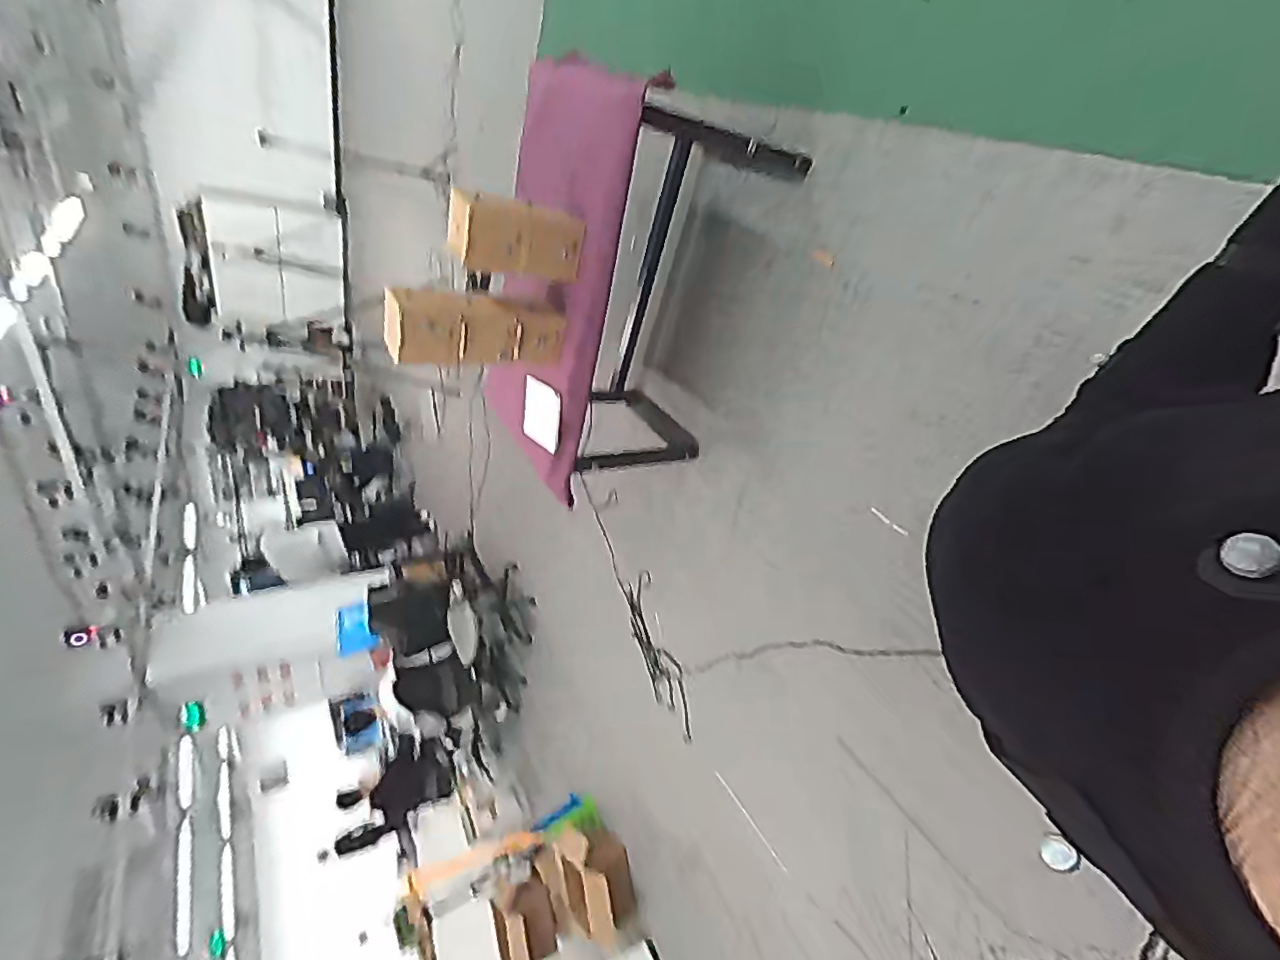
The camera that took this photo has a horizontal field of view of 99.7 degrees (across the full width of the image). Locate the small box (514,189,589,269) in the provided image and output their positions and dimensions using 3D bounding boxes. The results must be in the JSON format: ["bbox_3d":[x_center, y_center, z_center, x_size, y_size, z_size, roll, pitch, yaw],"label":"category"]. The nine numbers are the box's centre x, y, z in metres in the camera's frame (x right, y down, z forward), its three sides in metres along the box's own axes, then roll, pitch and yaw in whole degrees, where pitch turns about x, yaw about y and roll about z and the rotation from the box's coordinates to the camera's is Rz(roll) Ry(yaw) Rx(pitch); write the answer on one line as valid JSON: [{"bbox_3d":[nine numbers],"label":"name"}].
[{"bbox_3d":[-0.272,-0.730,1.584,0.179,0.176,0.168,50,135,39],"label":"small box"}]

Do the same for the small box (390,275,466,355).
[{"bbox_3d":[-0.606,-0.469,1.544,0.179,0.176,0.168,50,134,38],"label":"small box"}]

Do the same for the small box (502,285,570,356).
[{"bbox_3d":[-0.344,-0.513,1.736,0.179,0.176,0.168,48,133,38],"label":"small box"}]

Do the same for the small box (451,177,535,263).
[{"bbox_3d":[-0.409,-0.715,1.498,0.179,0.176,0.168,50,134,39],"label":"small box"}]

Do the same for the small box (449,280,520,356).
[{"bbox_3d":[-0.476,-0.490,1.639,0.179,0.176,0.168,50,134,39],"label":"small box"}]
